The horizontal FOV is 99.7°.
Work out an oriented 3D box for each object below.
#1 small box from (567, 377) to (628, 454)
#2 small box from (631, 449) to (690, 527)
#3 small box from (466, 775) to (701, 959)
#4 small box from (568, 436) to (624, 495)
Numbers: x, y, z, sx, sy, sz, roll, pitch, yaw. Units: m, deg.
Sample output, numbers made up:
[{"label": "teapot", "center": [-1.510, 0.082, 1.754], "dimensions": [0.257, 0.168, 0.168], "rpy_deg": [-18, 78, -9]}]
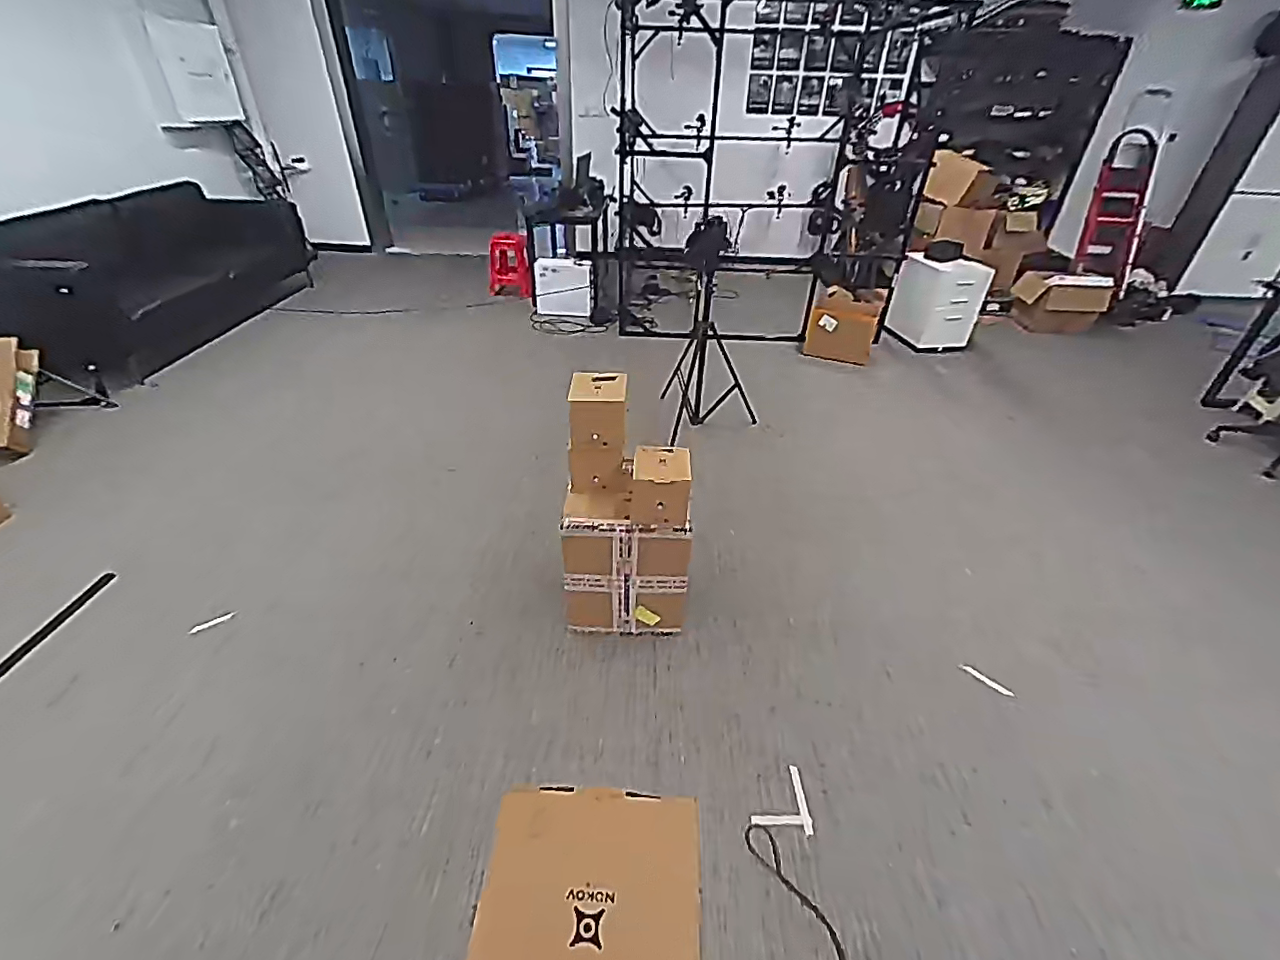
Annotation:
[{"label": "small box", "center": [-0.124, -0.197, 1.635], "dimensions": [0.168, 0.176, 0.179], "rpy_deg": [0, 38, 1]}, {"label": "small box", "center": [0.060, 0.025, 1.616], "dimensions": [0.168, 0.176, 0.179], "rpy_deg": [2, 37, 0]}, {"label": "small box", "center": [-0.041, 0.374, 0.449], "dimensions": [0.168, 0.176, 0.179], "rpy_deg": [3, 42, 0]}, {"label": "small box", "center": [-0.138, -0.068, 1.737], "dimensions": [0.168, 0.176, 0.179], "rpy_deg": [-2, 38, -2]}]
